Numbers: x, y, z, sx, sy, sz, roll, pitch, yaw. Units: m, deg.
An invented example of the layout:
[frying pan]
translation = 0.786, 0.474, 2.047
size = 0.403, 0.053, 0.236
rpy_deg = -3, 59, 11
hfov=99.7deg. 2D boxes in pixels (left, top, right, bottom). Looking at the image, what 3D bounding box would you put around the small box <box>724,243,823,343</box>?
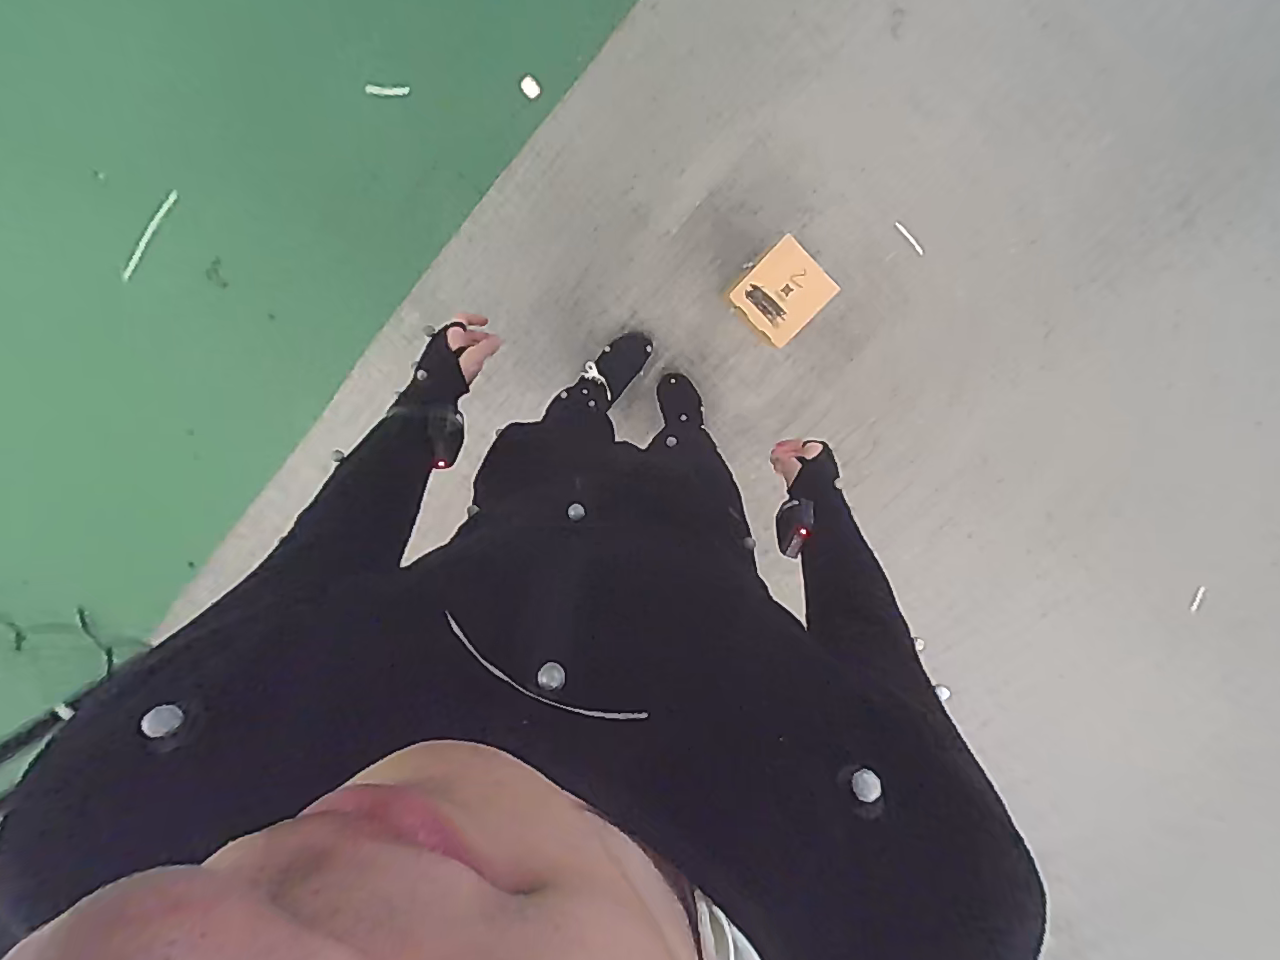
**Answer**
[small box]
translation = 0.333, -0.474, 1.391
size = 0.179, 0.176, 0.168
rpy_deg = 43, 105, -9
